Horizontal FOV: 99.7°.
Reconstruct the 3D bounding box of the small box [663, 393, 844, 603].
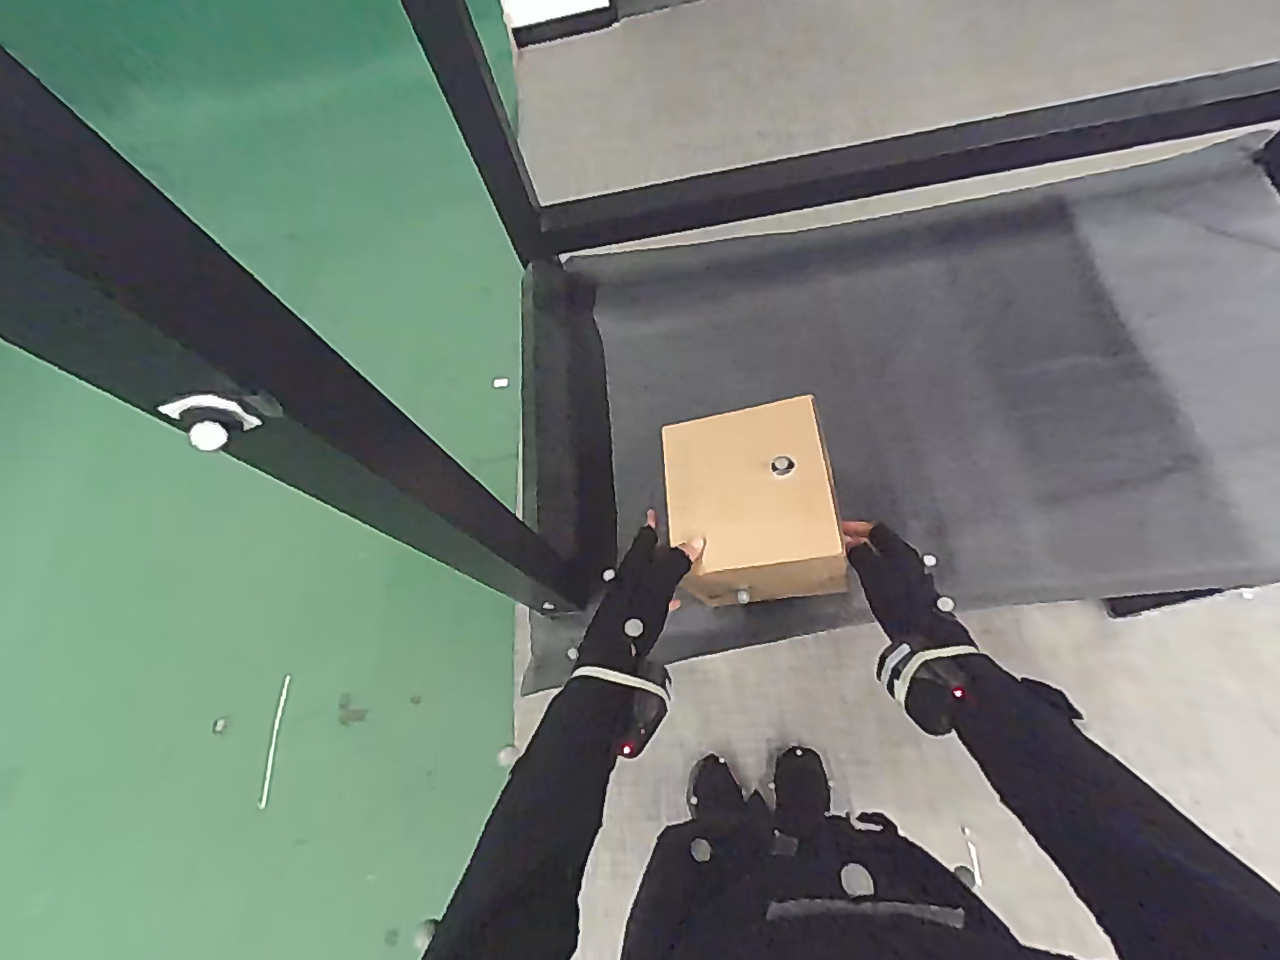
[{"bbox_3d":[0.129,0.031,0.617,0.176,0.168,0.179,-11,64,17],"label":"small box"}]
